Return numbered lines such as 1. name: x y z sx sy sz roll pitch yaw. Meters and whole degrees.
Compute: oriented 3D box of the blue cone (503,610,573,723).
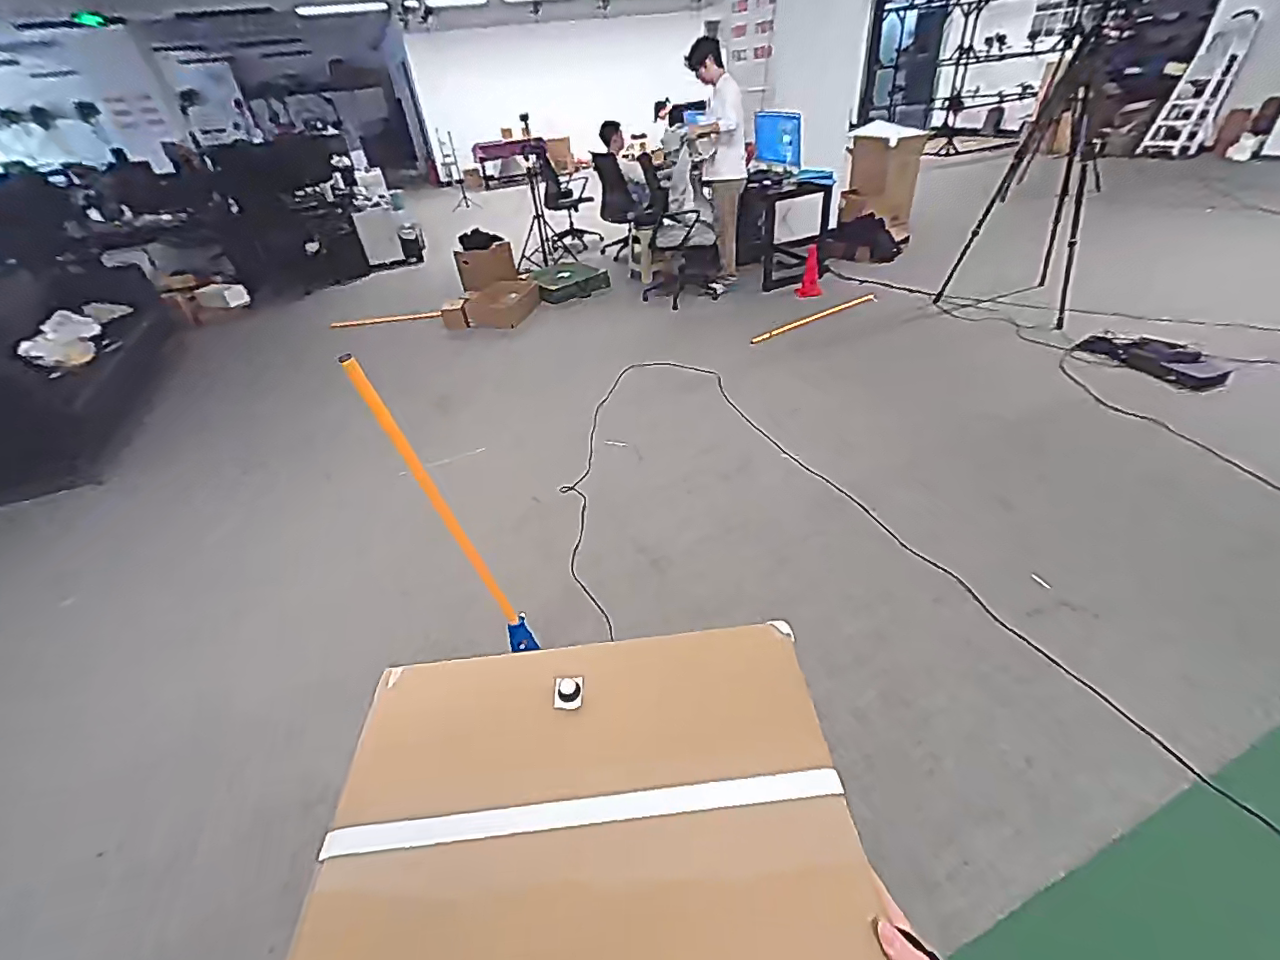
1. blue cone: -0.335 0.522 1.590 0.193 0.380 0.192 -21 39 -16
